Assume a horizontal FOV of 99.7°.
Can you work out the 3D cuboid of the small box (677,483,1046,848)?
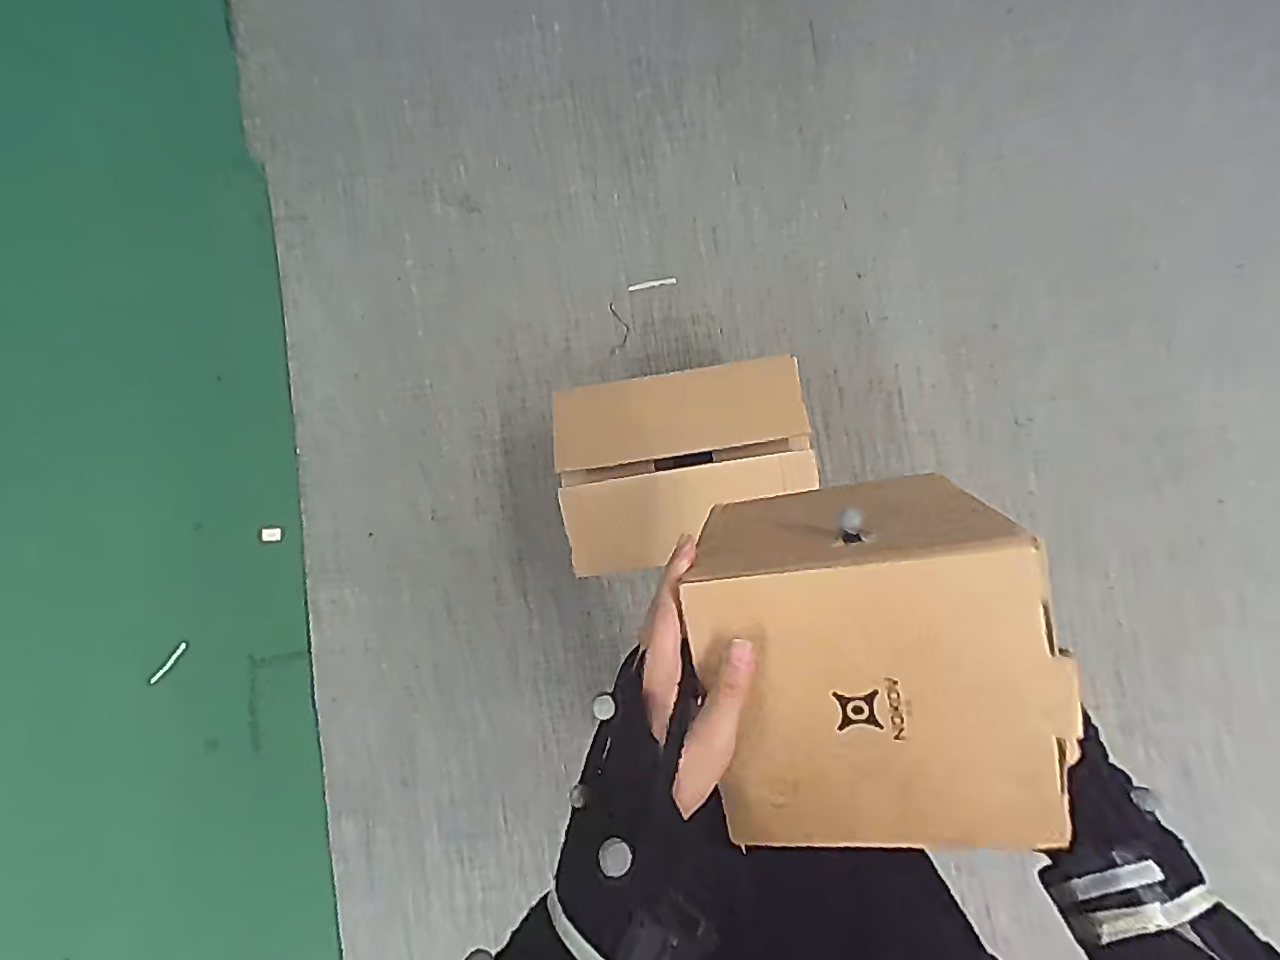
[{"bbox_3d":[0.137,0.105,0.368,0.179,0.176,0.168,-8,100,17],"label":"small box"}]
